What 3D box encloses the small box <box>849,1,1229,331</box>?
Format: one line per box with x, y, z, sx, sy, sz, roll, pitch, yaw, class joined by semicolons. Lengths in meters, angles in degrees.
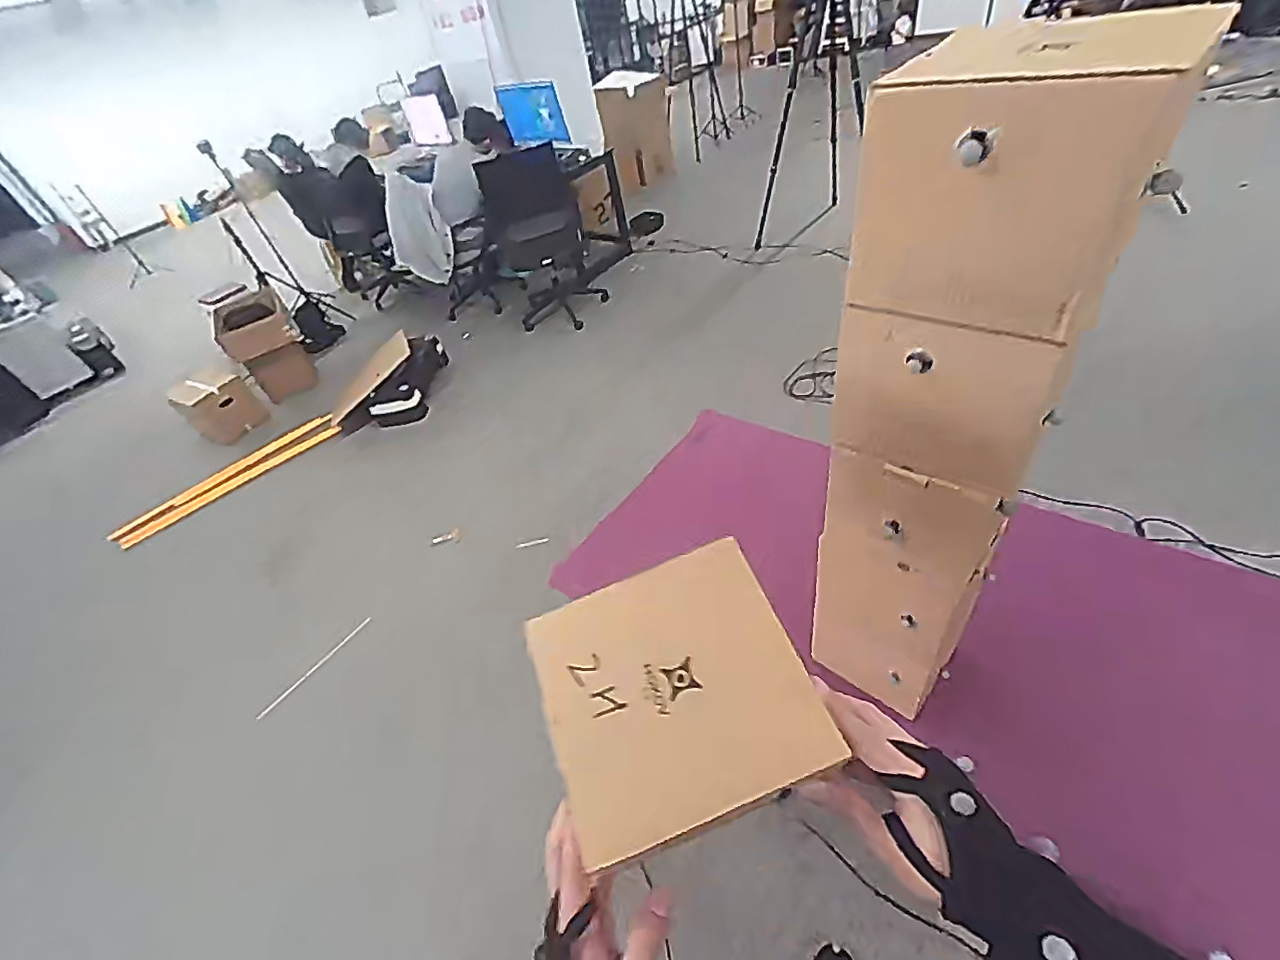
0.285;-0.235;0.422;0.179;0.176;0.168;26;56;36;small box

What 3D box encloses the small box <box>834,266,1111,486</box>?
0.310;-0.121;0.534;0.179;0.176;0.168;26;56;34;small box

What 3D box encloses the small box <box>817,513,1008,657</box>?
0.367;0.117;0.753;0.179;0.176;0.168;28;58;37;small box

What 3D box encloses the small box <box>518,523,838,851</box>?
0.027;0.166;0.431;0.179;0.176;0.168;-22;56;-2;small box

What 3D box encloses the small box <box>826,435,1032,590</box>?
0.340;-0.002;0.645;0.168;0.176;0.179;28;58;36;small box
